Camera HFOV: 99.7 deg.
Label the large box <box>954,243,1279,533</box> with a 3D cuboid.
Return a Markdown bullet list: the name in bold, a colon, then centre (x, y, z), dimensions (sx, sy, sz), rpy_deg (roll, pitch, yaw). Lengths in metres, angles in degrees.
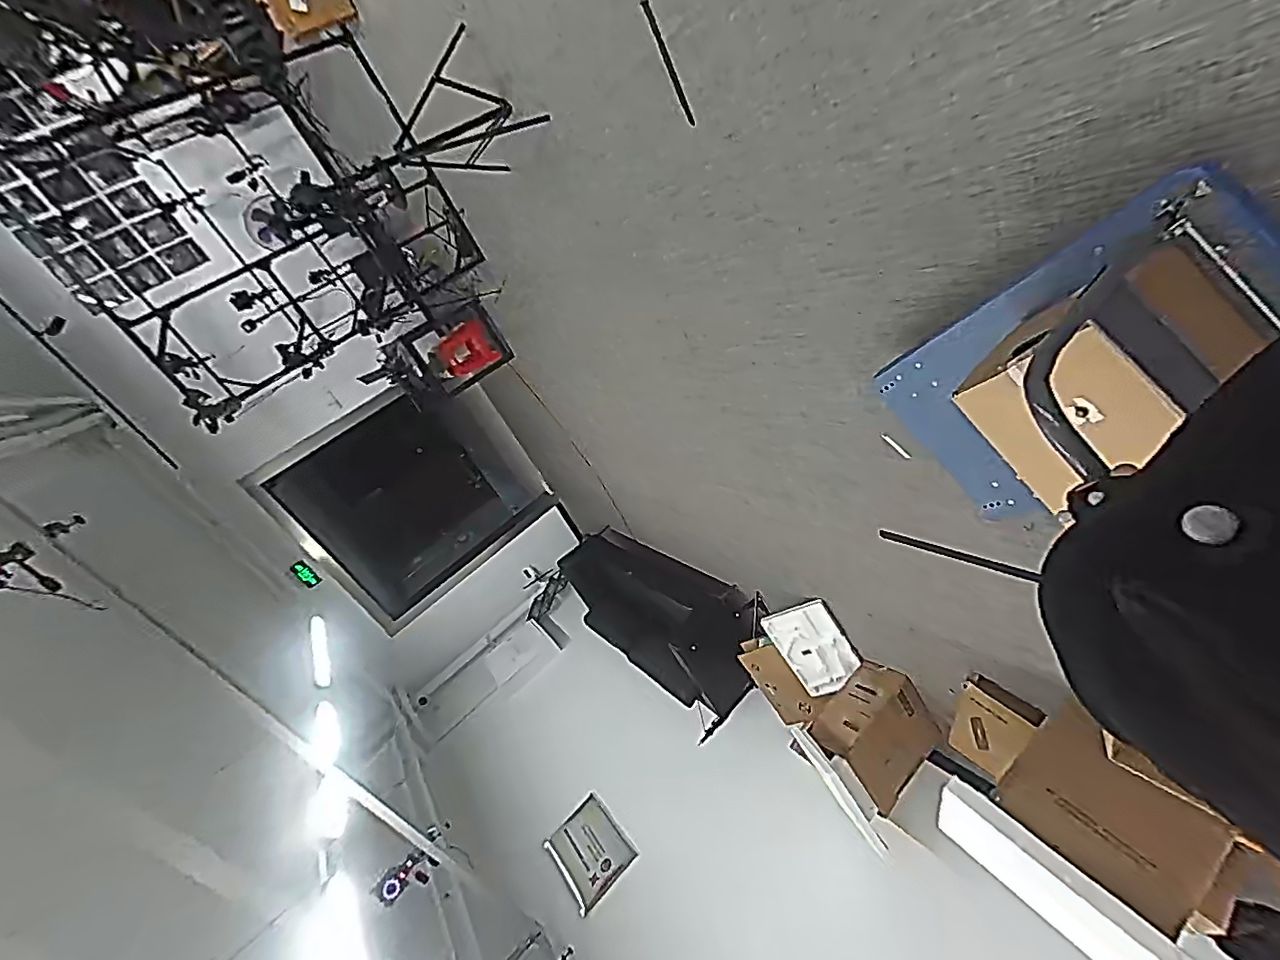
- **large box**: centre (0.947, -0.162, 1.062), dimensions (0.408, 0.320, 0.320), rpy_deg (50, 160, 3)
